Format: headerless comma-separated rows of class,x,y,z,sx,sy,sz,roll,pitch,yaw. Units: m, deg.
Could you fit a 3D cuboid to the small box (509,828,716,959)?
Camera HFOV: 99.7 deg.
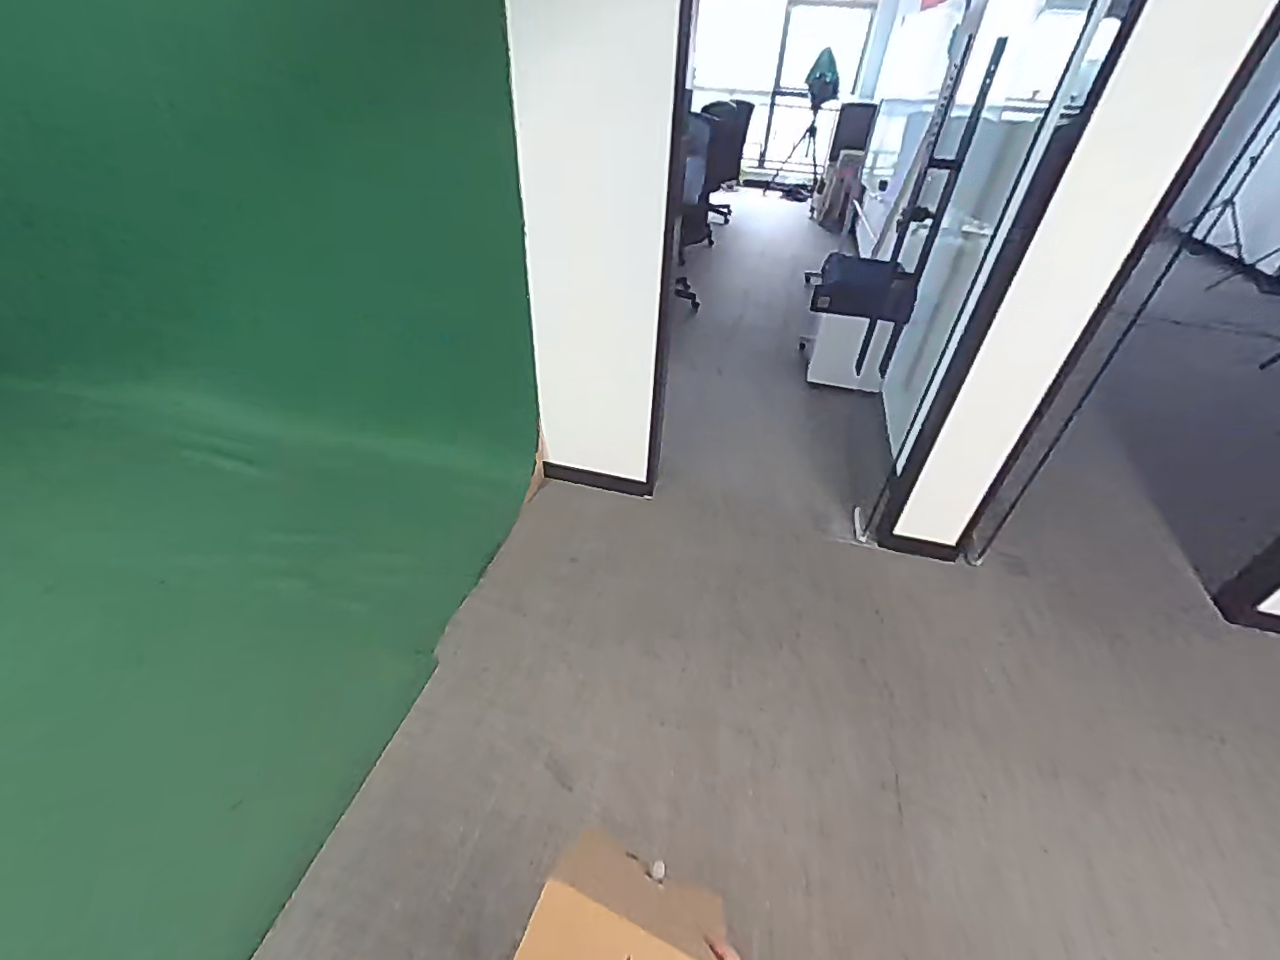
small box,-0.033,0.458,0.483,0.168,0.176,0.179,22,74,11
